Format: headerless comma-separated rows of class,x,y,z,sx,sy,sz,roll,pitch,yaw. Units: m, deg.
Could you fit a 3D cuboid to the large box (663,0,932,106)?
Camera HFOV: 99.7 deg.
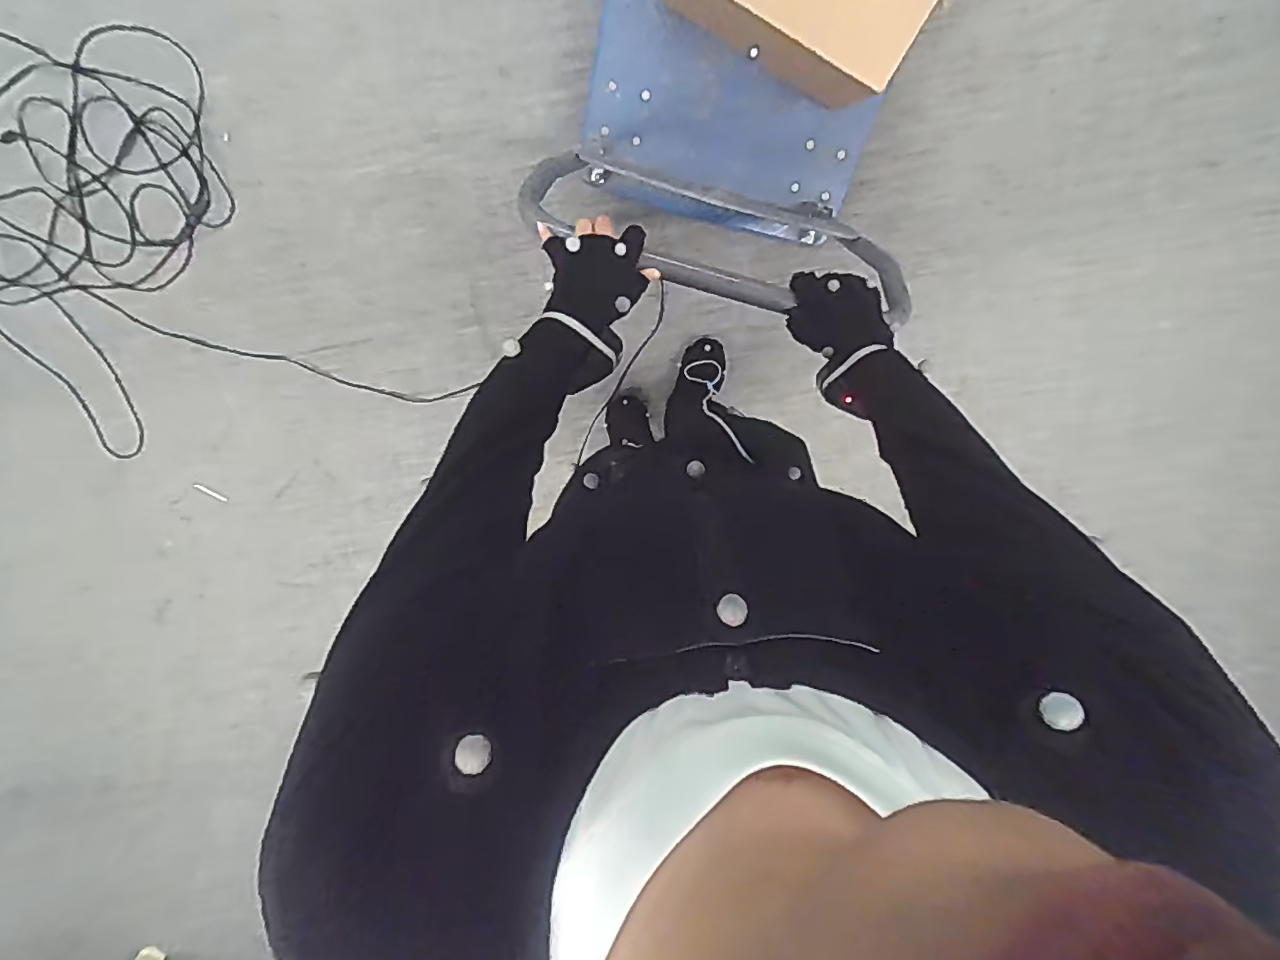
large box,0.268,-0.863,0.855,0.408,0.320,0.320,26,119,-9
